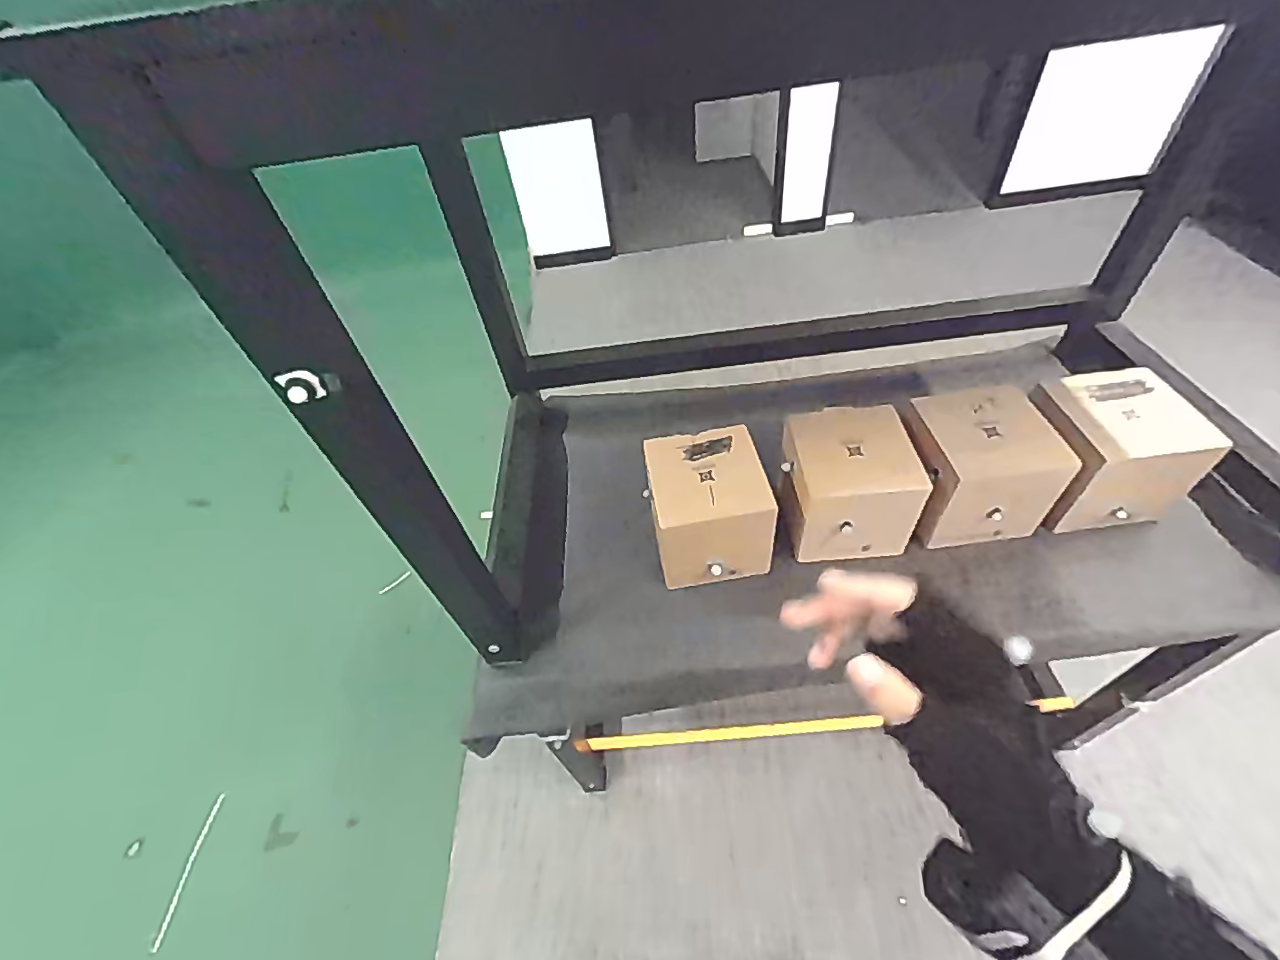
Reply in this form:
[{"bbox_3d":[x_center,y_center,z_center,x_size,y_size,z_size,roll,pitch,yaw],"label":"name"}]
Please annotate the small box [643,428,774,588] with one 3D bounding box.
[{"bbox_3d":[0.102,0.046,0.858,0.168,0.176,0.179,-10,48,-1],"label":"small box"}]
